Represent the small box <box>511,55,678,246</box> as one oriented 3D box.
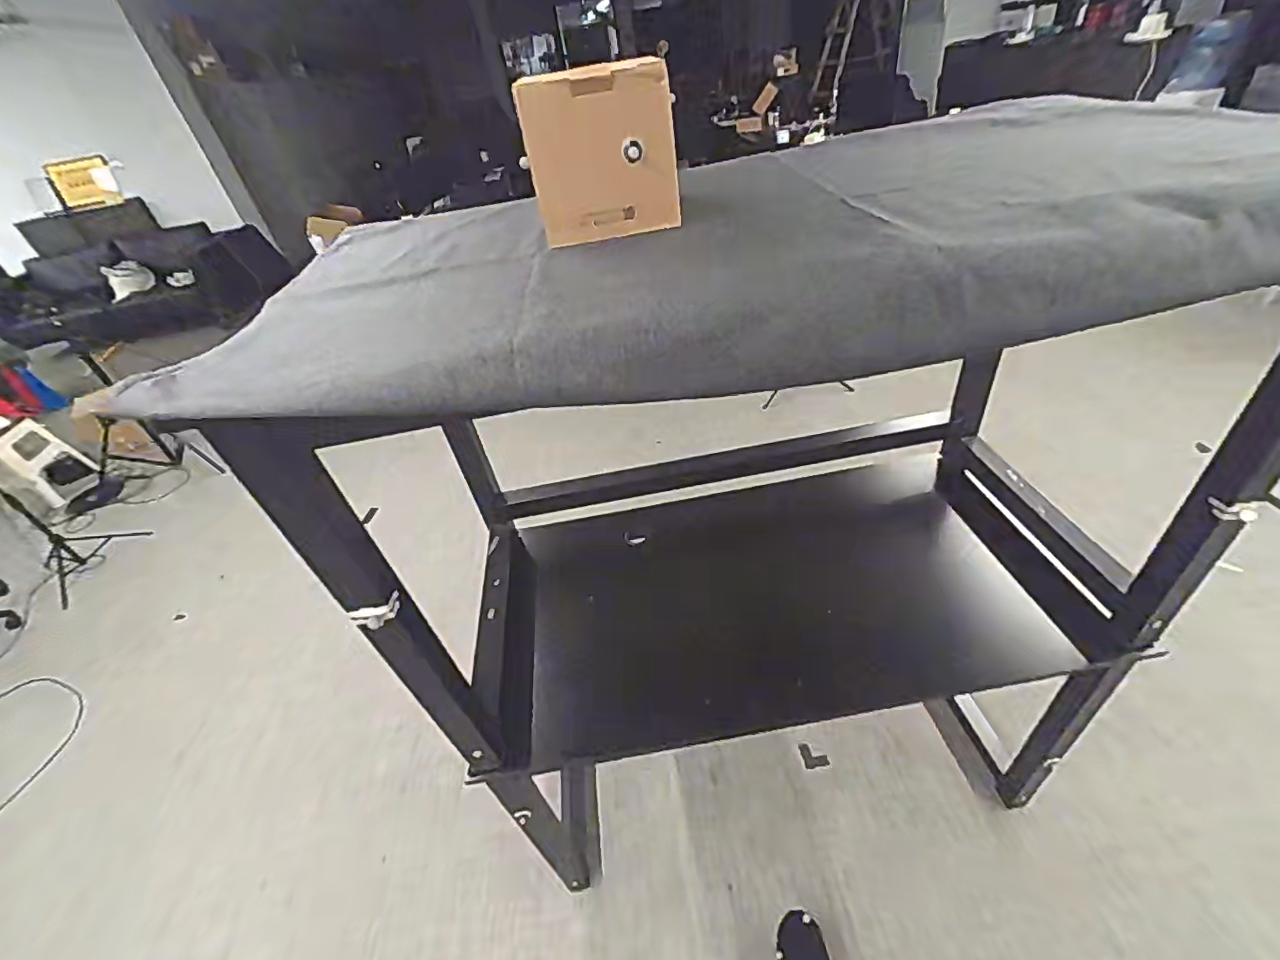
[{"bbox_3d":[-0.049,-0.402,0.668,0.168,0.176,0.179,-9,40,1],"label":"small box"}]
